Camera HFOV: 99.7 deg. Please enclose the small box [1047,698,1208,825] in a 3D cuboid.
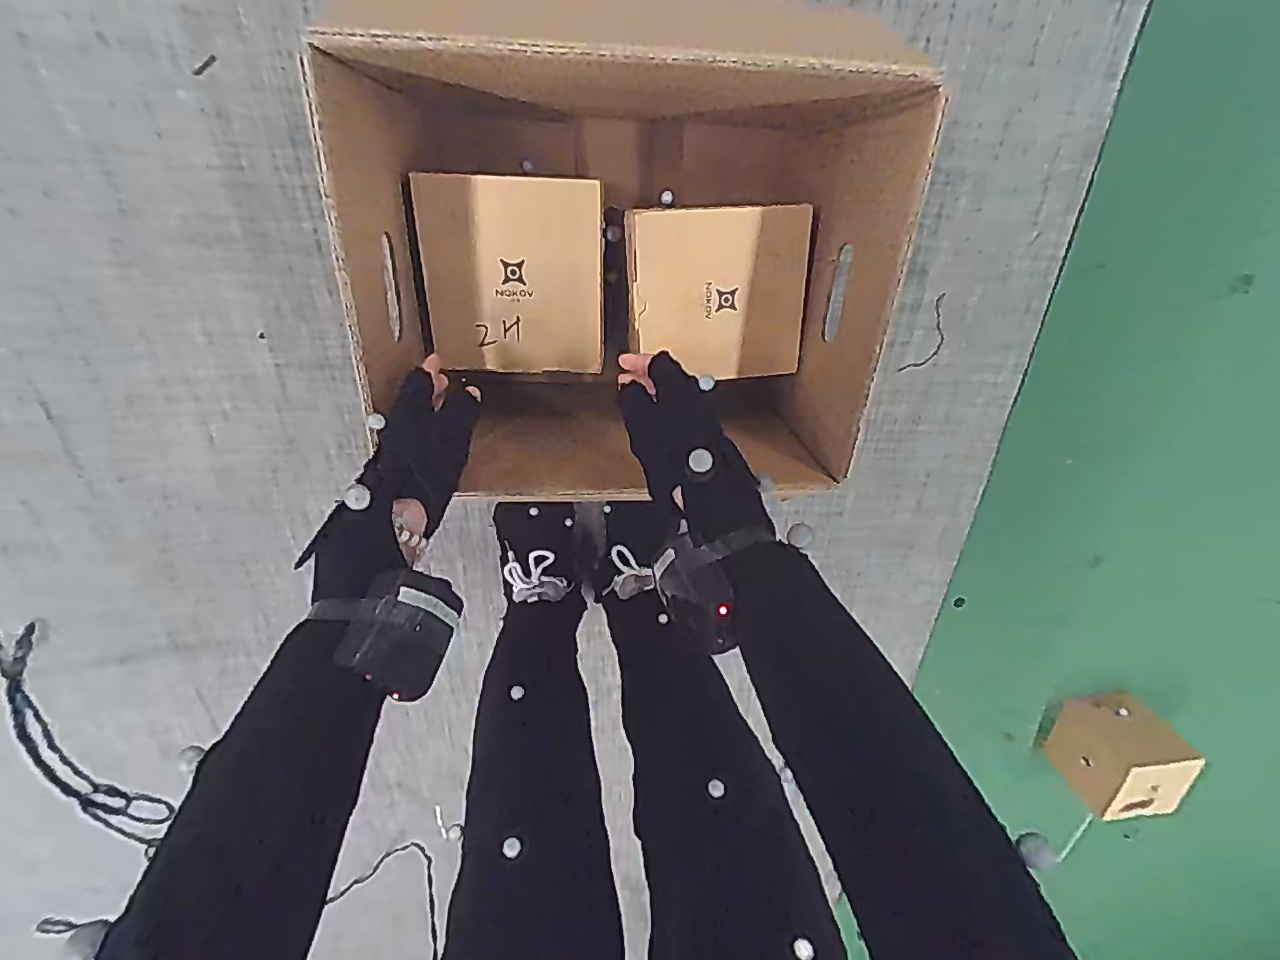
[{"bbox_3d":[1.027,0.600,1.162,0.168,0.176,0.179,-5,117,-4],"label":"small box"}]
